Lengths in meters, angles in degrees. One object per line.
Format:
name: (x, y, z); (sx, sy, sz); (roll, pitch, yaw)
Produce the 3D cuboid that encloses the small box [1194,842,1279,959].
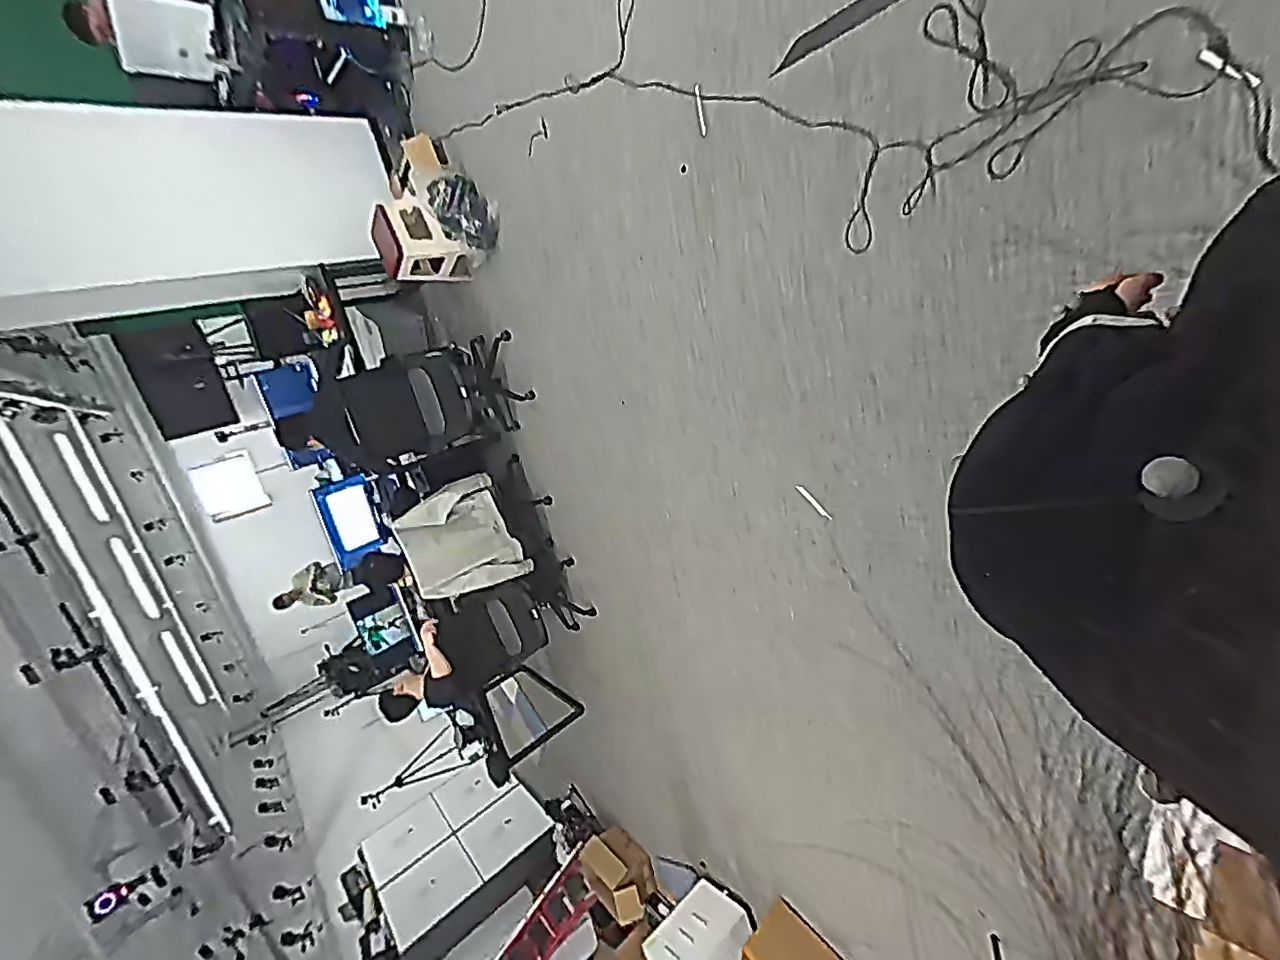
small box: (0.871, 0.649, 0.724); (0.168, 0.176, 0.179); (9, 115, 49)
